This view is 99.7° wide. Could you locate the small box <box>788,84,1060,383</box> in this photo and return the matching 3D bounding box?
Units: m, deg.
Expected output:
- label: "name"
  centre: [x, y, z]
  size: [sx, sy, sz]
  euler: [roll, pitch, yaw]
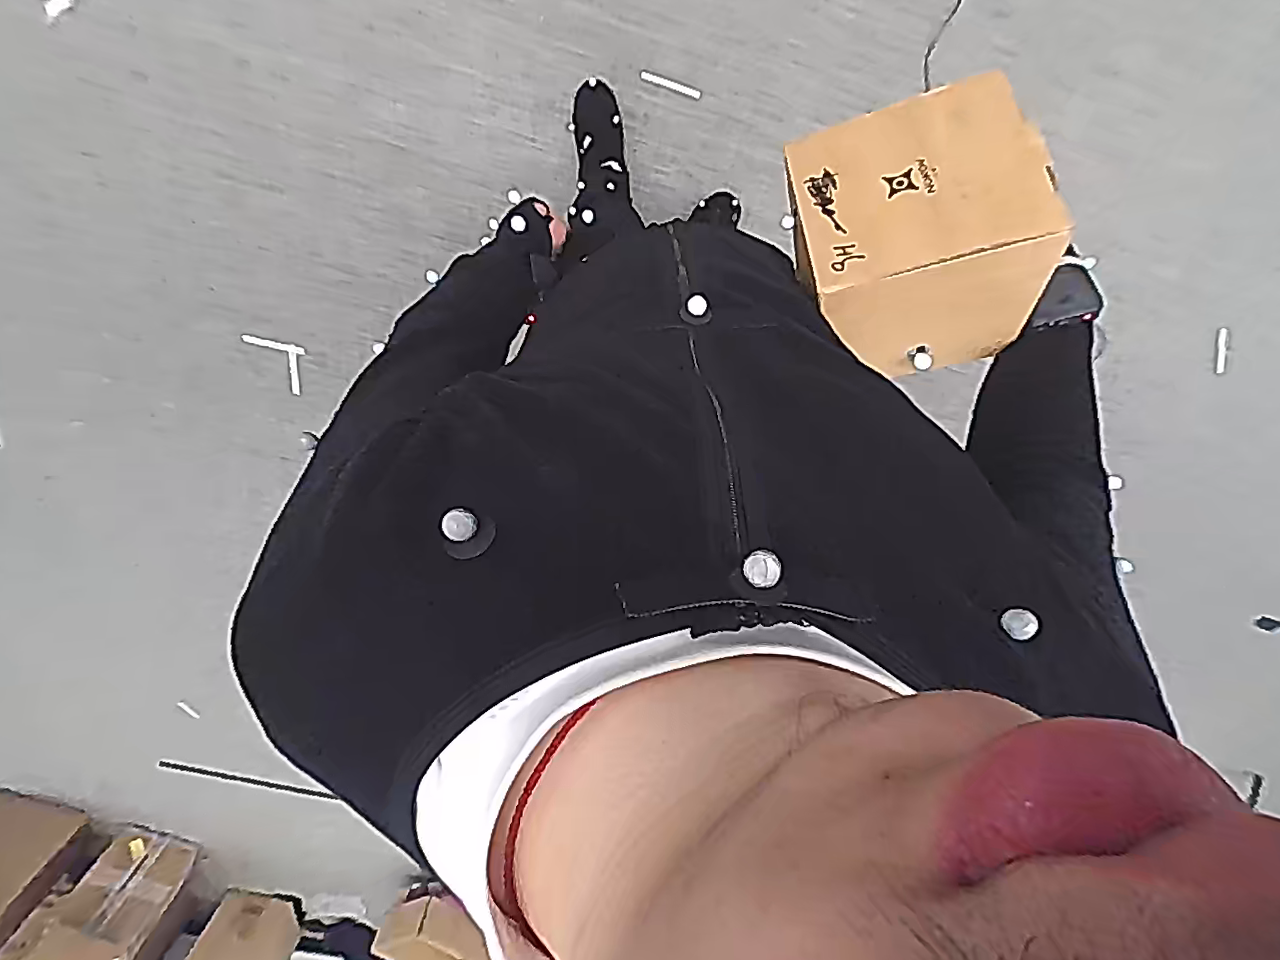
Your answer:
- label: "small box"
  centre: [0.247, -0.216, 0.517]
  size: [0.179, 0.168, 0.176]
  euler: [-11, 158, 16]
